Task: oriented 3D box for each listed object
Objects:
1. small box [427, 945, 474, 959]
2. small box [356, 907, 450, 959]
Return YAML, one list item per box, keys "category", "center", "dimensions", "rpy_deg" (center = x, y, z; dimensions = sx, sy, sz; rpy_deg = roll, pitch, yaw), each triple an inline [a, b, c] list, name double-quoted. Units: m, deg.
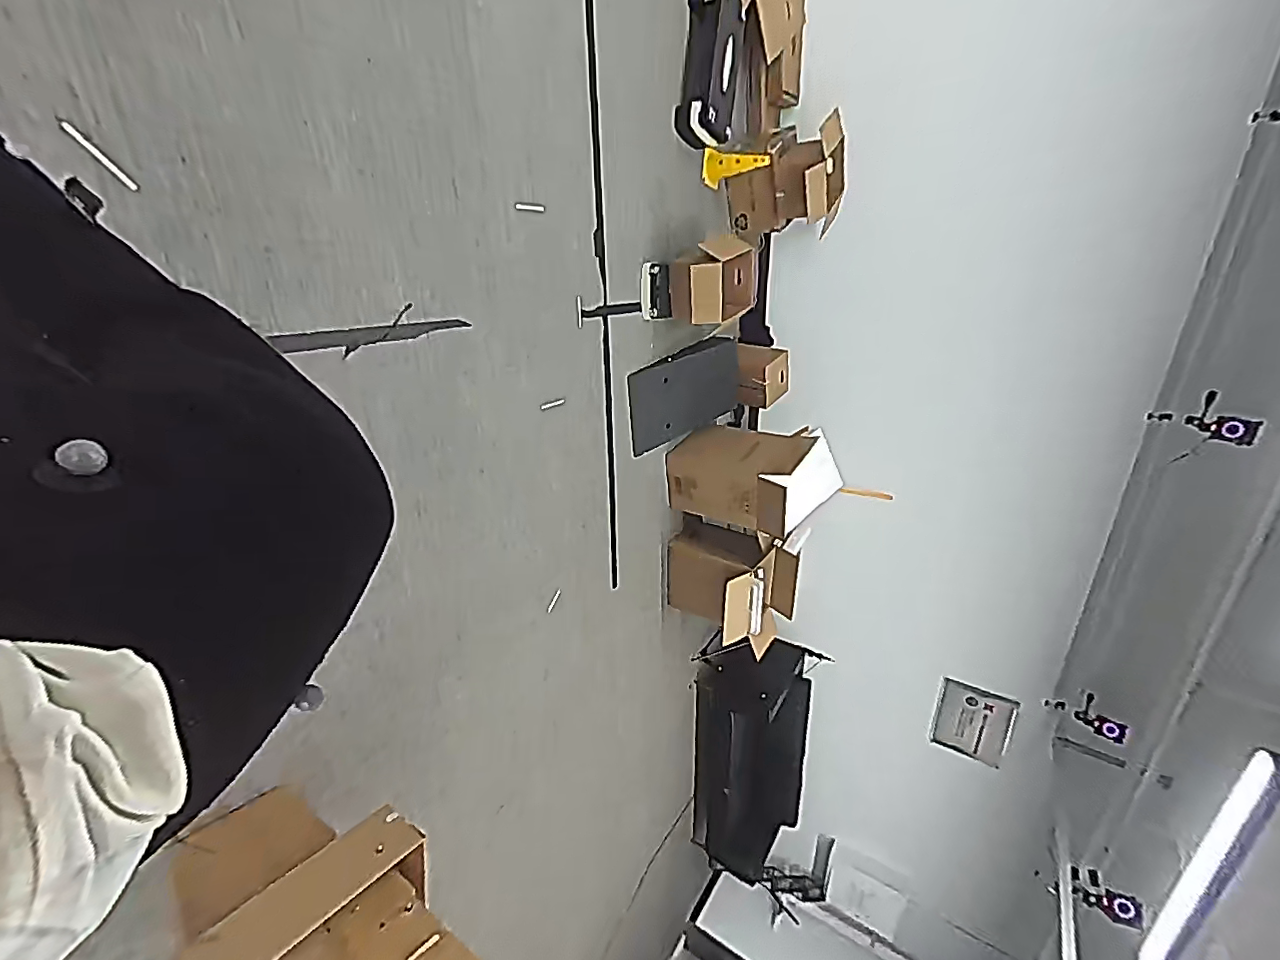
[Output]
- category: "small box"
  center: [-0.492, 1.308, 1.333]
  dimensions: [0.168, 0.176, 0.179]
  rpy_deg: [3, 100, -58]
- category: "small box"
  center: [-0.629, 1.279, 1.421]
  dimensions: [0.168, 0.176, 0.179]
  rpy_deg: [-4, 107, -57]
